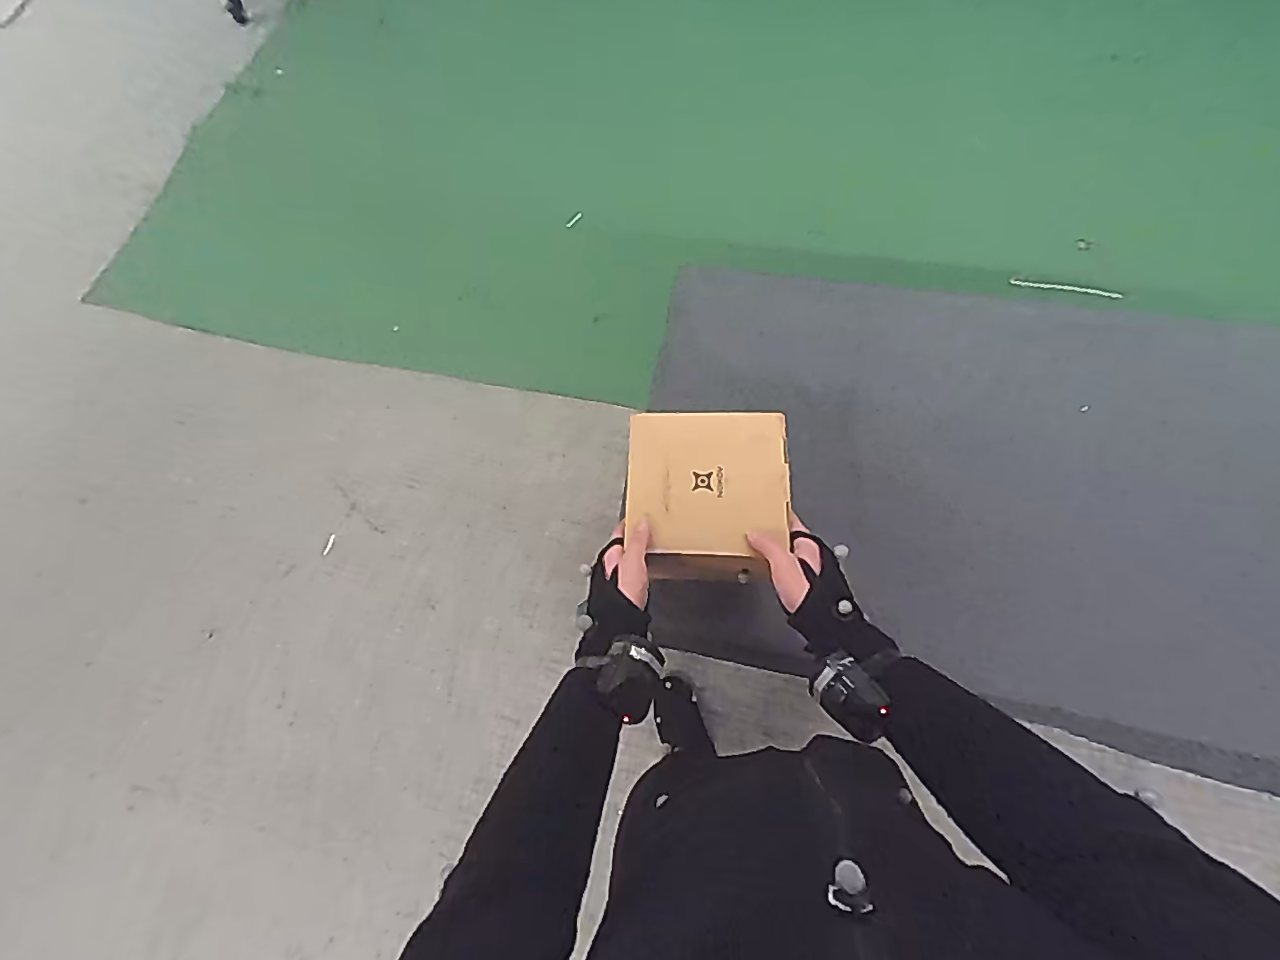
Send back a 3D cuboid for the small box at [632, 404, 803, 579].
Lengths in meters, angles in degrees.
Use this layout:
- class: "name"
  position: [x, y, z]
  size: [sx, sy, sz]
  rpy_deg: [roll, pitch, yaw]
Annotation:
- class: "small box"
  position: [0.086, 0.021, 0.648]
  size: [0.179, 0.176, 0.168]
  rpy_deg: [1, 69, 5]
